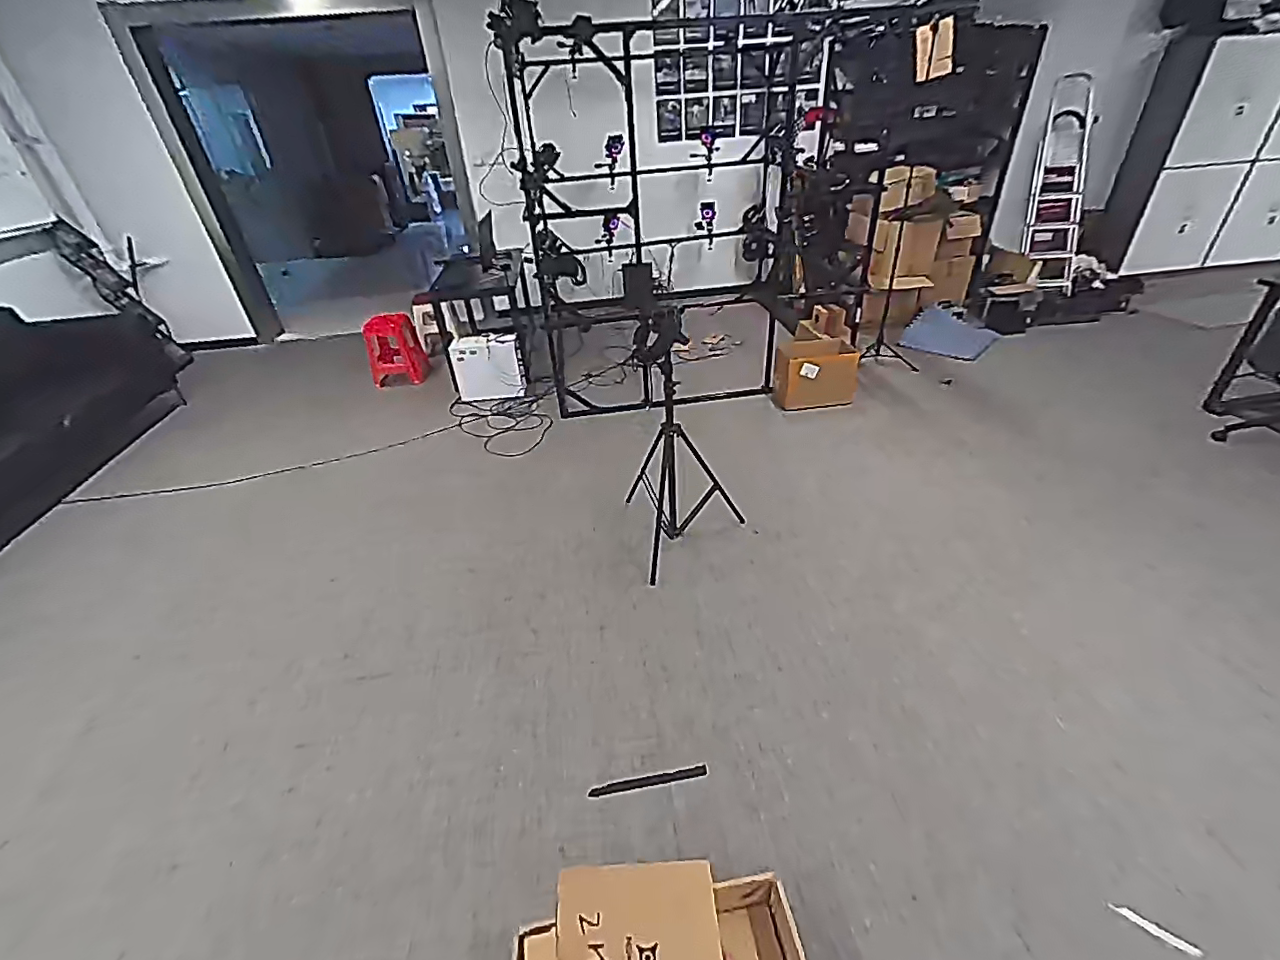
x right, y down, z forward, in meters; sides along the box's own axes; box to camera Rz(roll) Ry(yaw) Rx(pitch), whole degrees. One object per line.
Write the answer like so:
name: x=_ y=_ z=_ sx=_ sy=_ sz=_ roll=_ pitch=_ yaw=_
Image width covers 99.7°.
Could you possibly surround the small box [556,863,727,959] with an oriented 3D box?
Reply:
small box: x=-0.003 y=0.545 z=0.594 sx=0.179 sy=0.176 sz=0.168 roll=1 pitch=39 yaw=-5
